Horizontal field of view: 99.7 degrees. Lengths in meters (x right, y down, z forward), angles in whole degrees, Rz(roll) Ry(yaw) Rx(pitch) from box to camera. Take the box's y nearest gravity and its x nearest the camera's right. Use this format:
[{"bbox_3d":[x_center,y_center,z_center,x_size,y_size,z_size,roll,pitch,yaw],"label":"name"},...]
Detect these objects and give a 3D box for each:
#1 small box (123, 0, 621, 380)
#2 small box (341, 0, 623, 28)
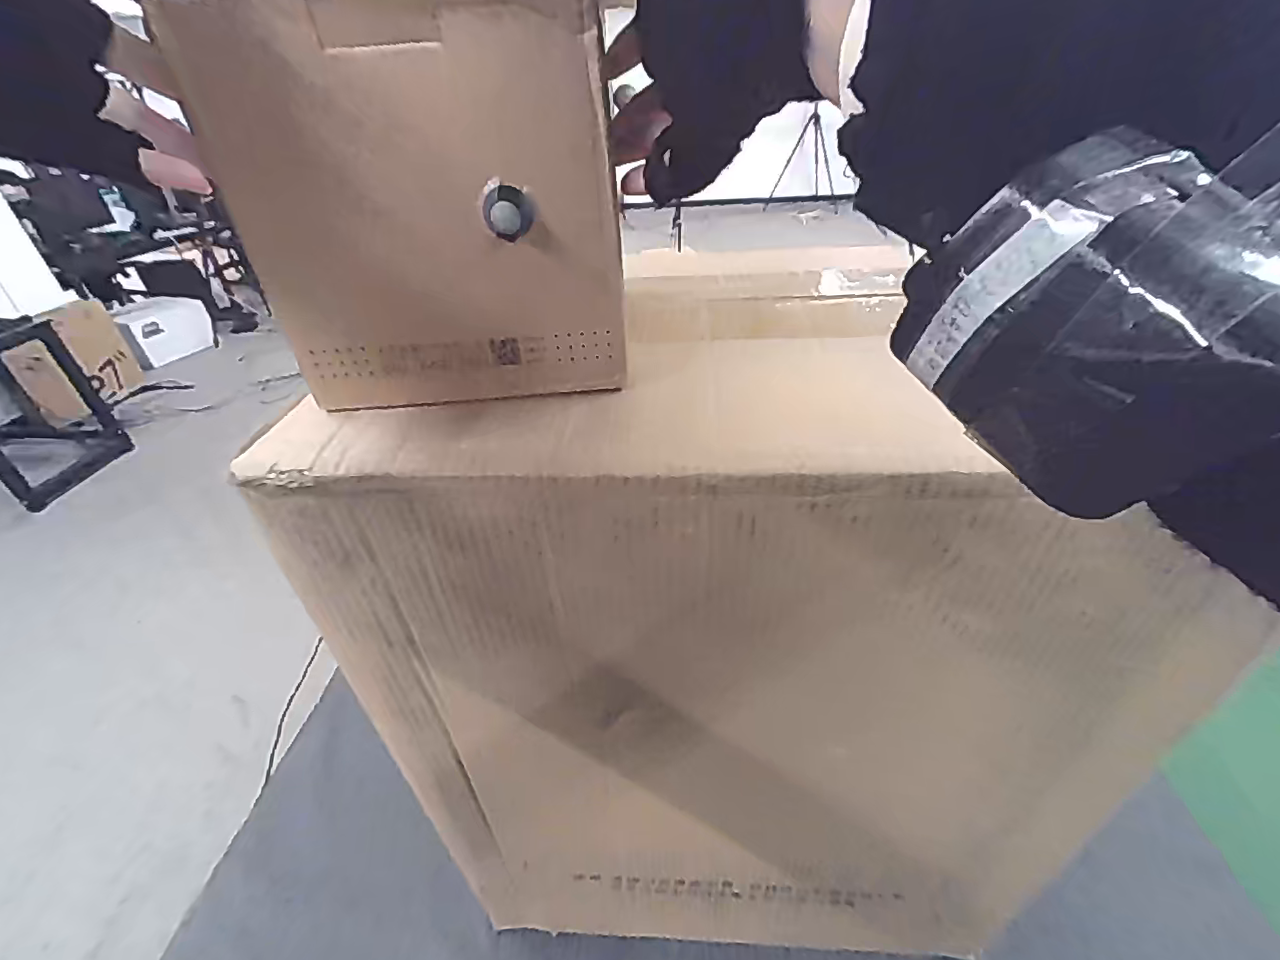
[{"bbox_3d":[-0.103,-0.166,0.304,0.168,0.176,0.179,-6,39,-3],"label":"small box"},{"bbox_3d":[-0.100,-0.278,0.206,0.179,0.176,0.168,-2,37,4],"label":"small box"}]
